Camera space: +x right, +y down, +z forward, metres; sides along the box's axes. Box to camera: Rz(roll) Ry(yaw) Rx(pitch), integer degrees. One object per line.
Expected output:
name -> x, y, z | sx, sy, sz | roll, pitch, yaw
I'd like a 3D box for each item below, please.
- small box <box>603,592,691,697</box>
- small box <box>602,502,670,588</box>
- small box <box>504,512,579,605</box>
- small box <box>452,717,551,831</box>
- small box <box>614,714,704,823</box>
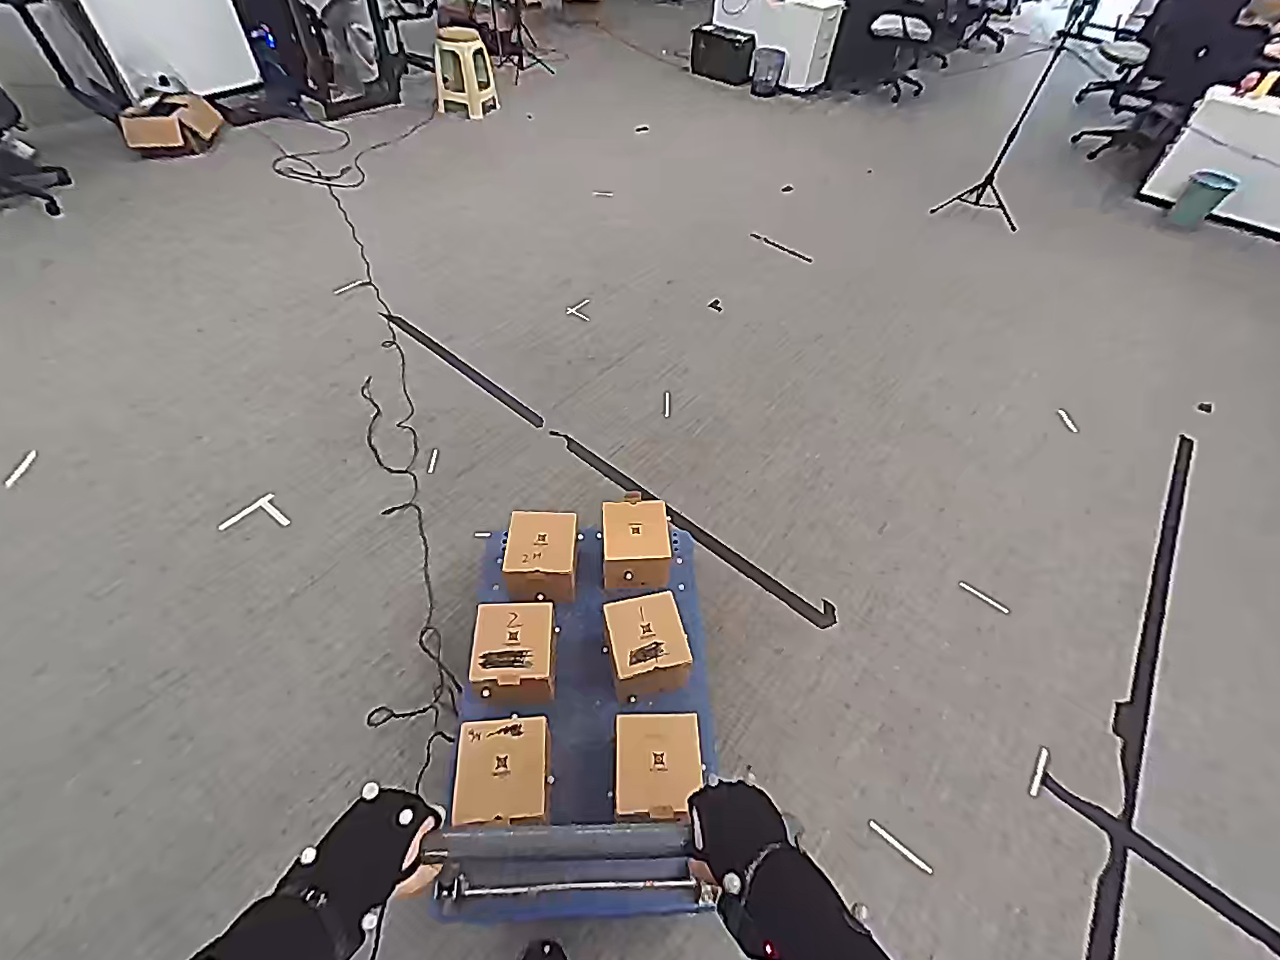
small box -> 0.010, 0.390, 1.262 | 0.168, 0.176, 0.179 | -9, 52, -11
small box -> -0.014, 0.177, 1.431 | 0.168, 0.176, 0.179 | -2, 51, -5
small box -> -0.245, 0.202, 1.391 | 0.168, 0.176, 0.179 | 2, 52, -2
small box -> -0.265, 0.591, 1.079 | 0.168, 0.176, 0.179 | -1, 52, -7
small box -> 0.032, 0.592, 1.103 | 0.168, 0.176, 0.179 | 2, 51, -4
